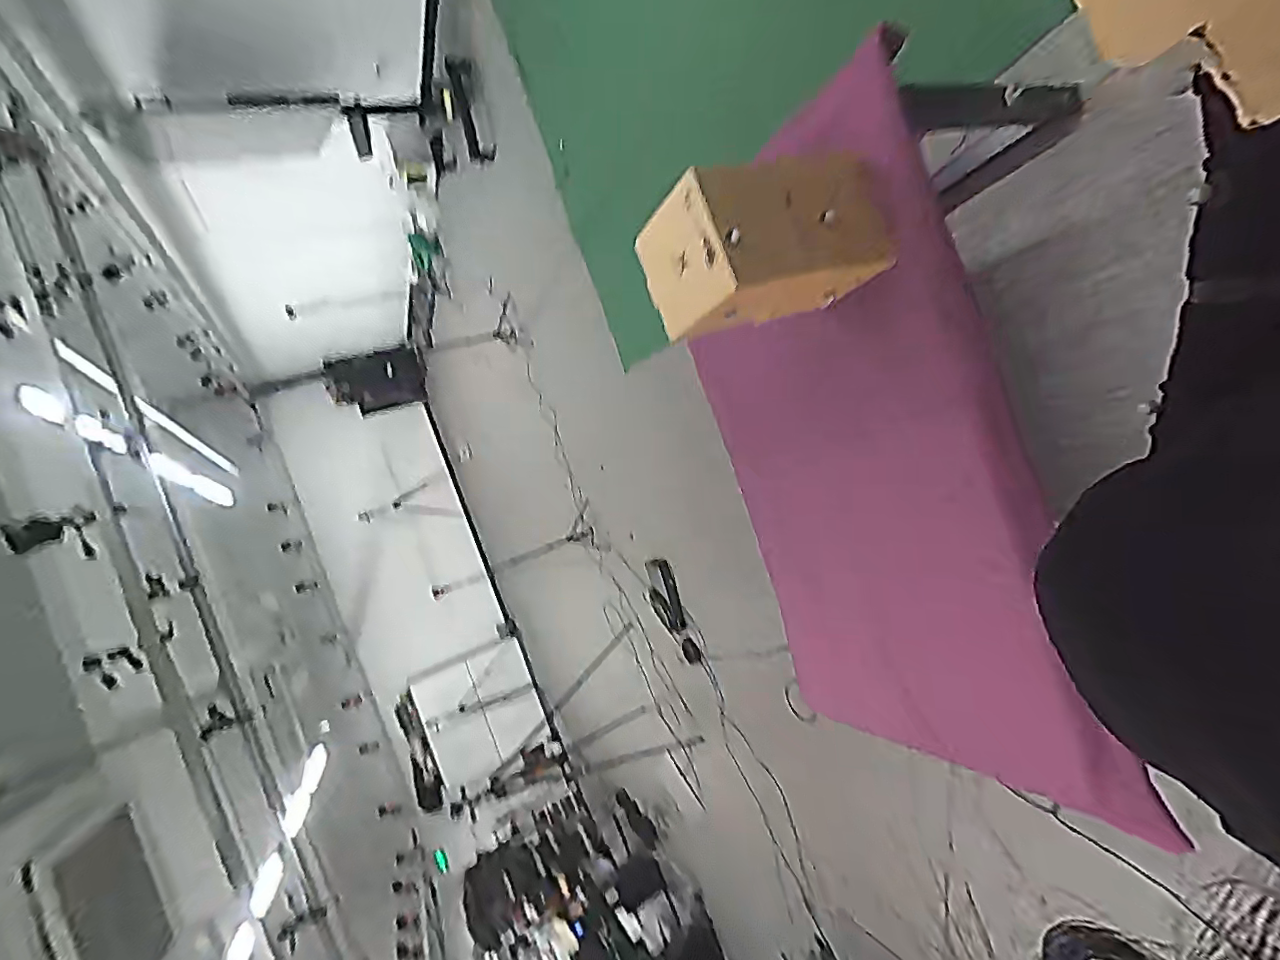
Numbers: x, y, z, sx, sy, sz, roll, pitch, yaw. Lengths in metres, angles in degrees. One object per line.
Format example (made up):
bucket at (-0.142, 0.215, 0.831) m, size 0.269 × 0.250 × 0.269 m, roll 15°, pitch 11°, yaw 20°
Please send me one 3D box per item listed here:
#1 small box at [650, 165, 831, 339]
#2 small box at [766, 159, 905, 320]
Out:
small box at (0.145, -0.334, 0.806) m, size 0.179 × 0.176 × 0.168 m, roll -23°, pitch 90°, yaw 65°
small box at (0.286, -0.387, 0.874) m, size 0.168 × 0.176 × 0.179 m, roll -24°, pitch 88°, yaw 64°
